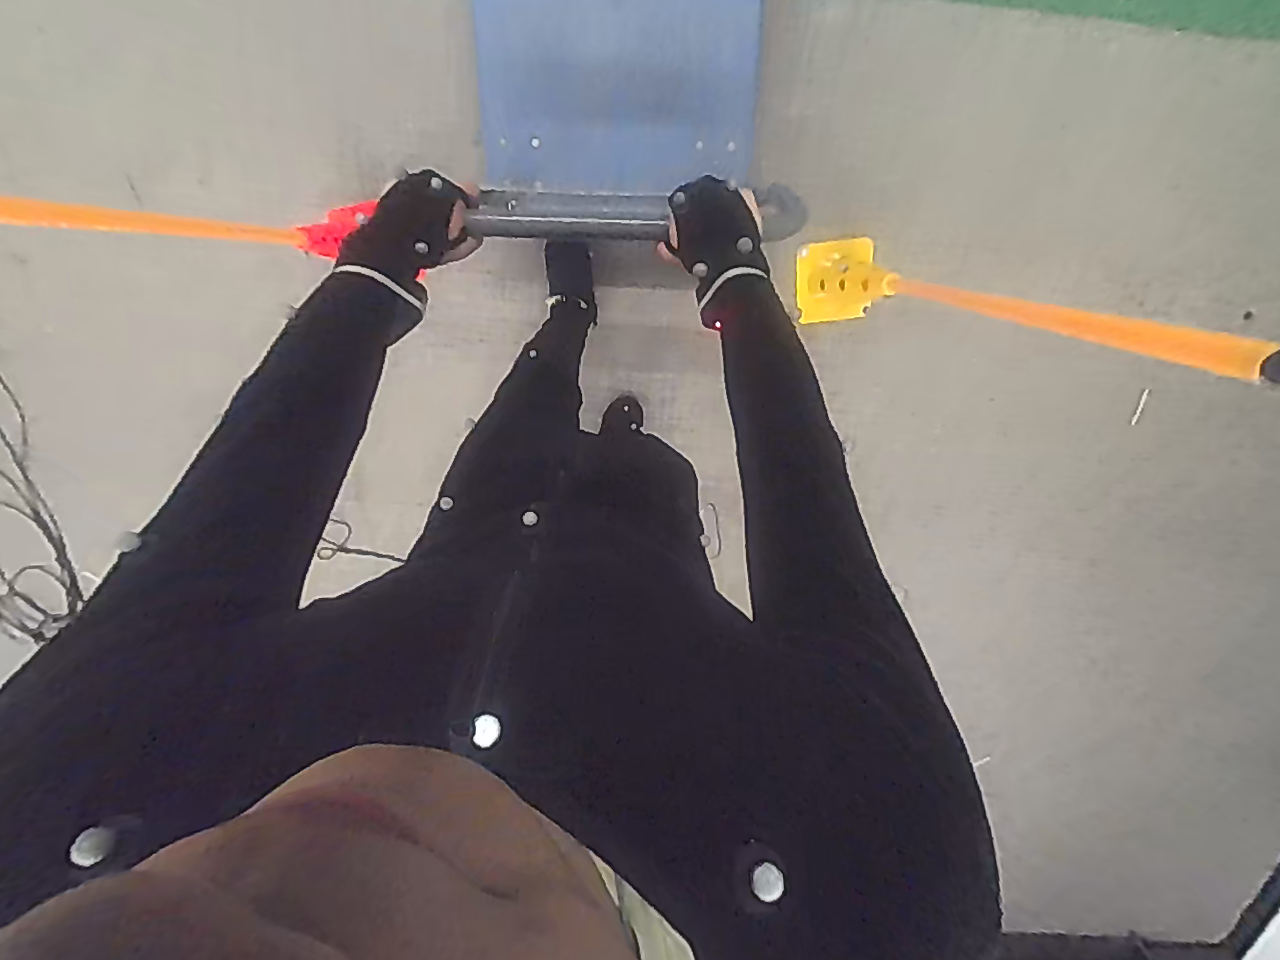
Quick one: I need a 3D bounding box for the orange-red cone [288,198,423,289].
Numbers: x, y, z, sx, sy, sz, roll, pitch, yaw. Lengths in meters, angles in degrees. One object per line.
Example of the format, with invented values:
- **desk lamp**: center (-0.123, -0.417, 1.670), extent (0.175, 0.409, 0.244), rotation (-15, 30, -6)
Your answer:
- **orange-red cone**: center (-0.668, -0.537, 1.215), extent (0.199, 0.360, 0.198), rotation (-9, 111, 4)
